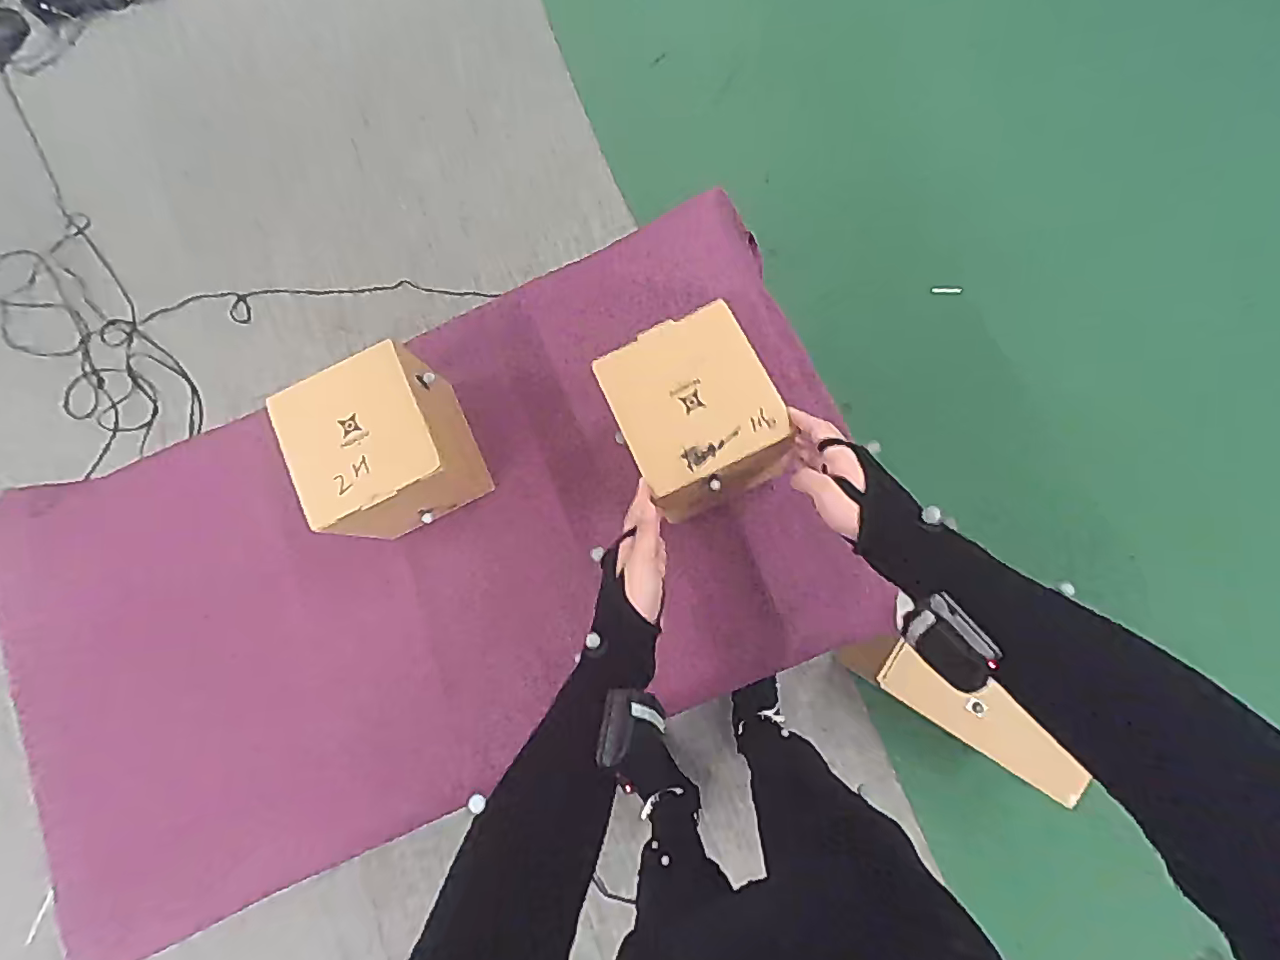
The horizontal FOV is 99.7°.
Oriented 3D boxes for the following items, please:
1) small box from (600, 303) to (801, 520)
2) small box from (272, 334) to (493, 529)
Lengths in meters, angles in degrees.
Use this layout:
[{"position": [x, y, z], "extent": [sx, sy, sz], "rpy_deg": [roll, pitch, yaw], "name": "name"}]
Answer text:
[{"position": [0.071, -0.070, 0.652], "extent": [0.168, 0.176, 0.179], "rpy_deg": [-25, 74, 3], "name": "small box"}, {"position": [-0.316, -0.049, 0.694], "extent": [0.168, 0.176, 0.179], "rpy_deg": [-25, 80, 1], "name": "small box"}]
